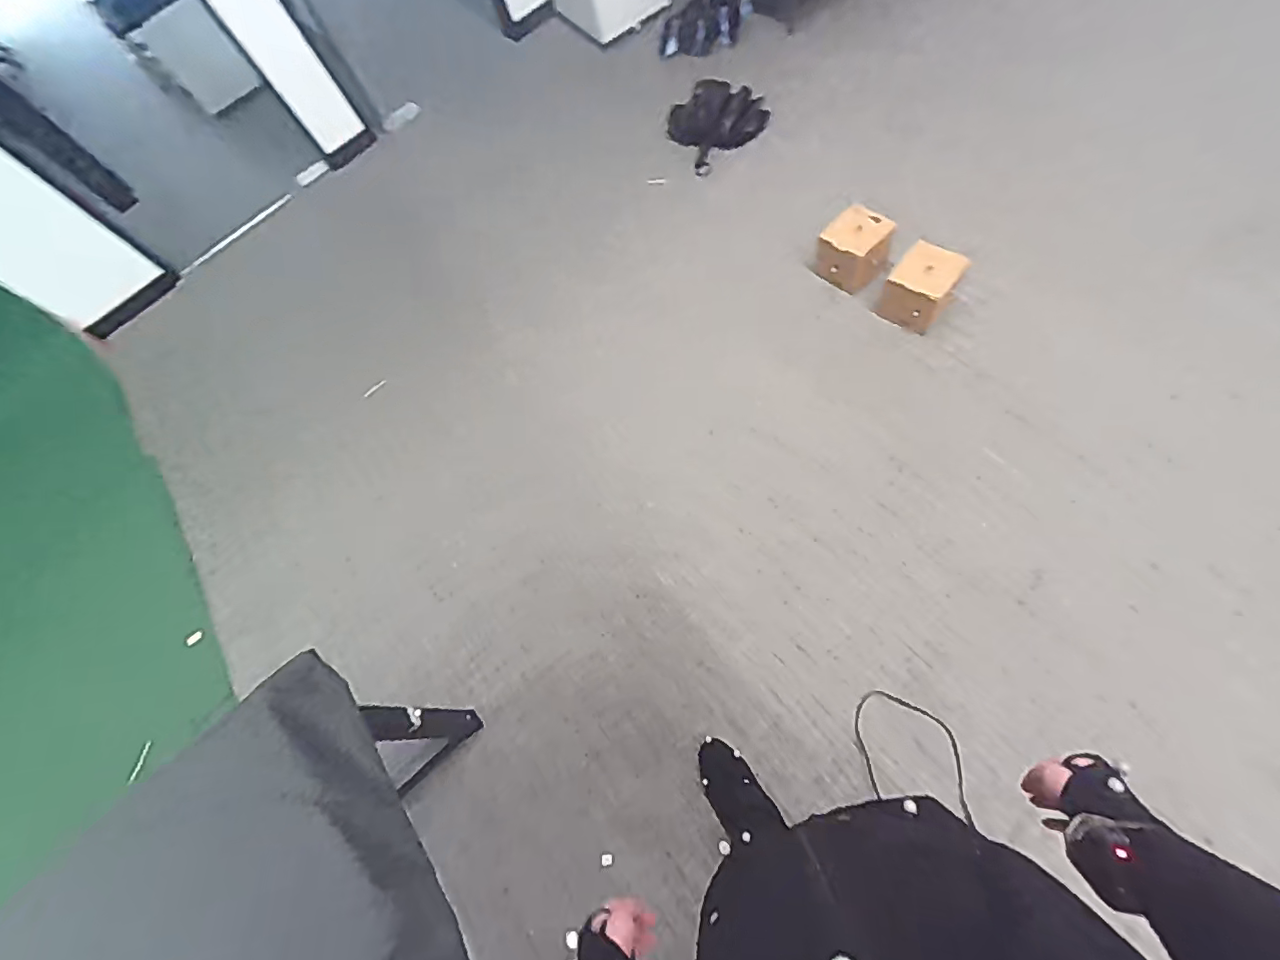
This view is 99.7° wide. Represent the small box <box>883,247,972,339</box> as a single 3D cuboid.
[{"bbox_3d":[0.868,-0.567,1.657,0.168,0.176,0.179,36,76,24],"label":"small box"}]

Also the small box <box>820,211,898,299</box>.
[{"bbox_3d":[0.710,-0.733,1.773,0.179,0.176,0.168,-42,63,-7],"label":"small box"}]
